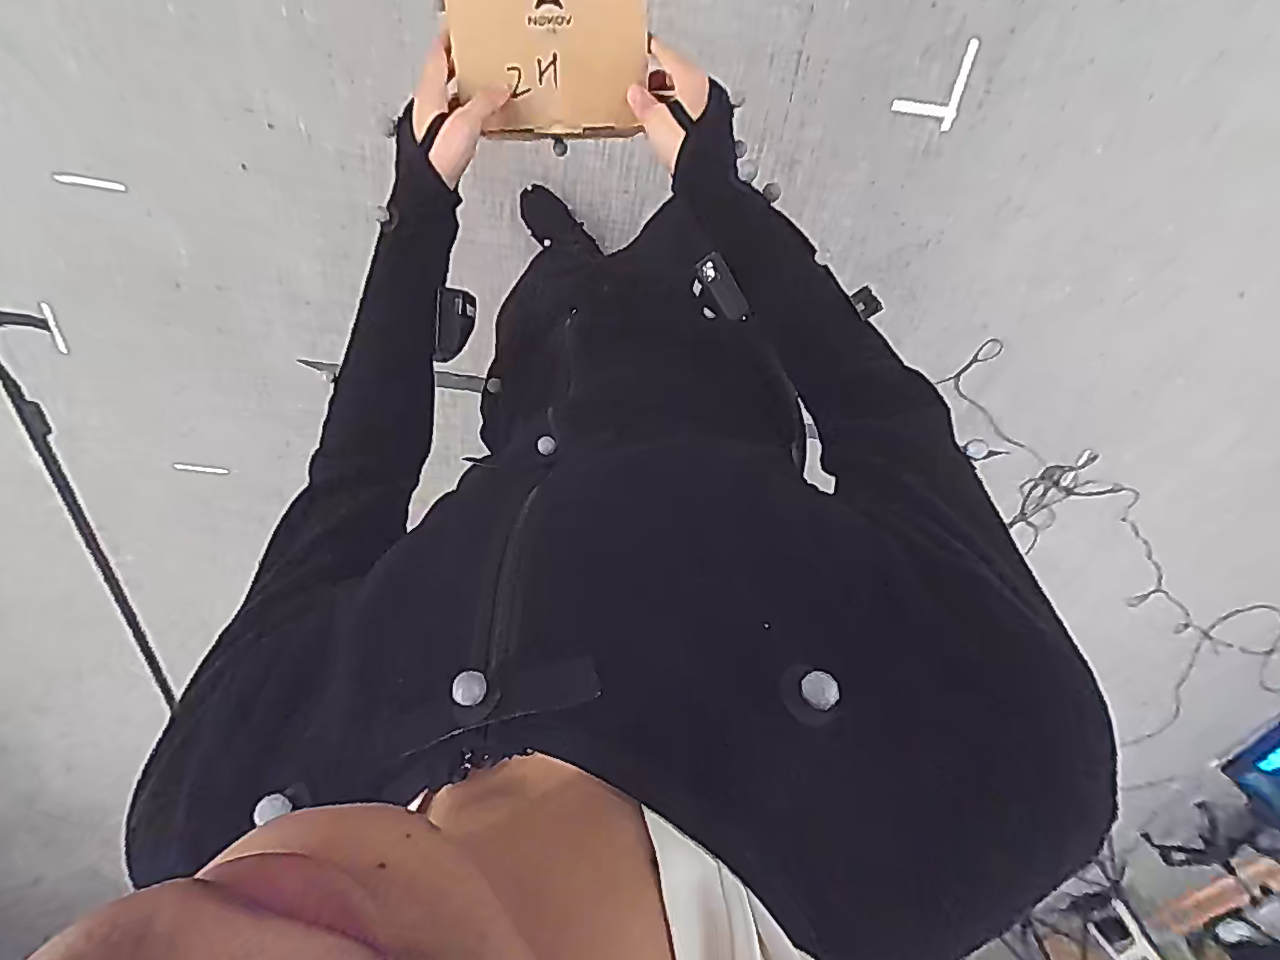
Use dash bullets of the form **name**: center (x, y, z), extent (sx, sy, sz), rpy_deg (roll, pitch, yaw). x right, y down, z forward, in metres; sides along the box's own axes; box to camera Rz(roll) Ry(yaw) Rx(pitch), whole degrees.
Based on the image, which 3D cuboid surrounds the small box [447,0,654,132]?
- **small box**: center (-0.080, -0.425, 0.493), extent (0.168, 0.176, 0.179), rpy_deg (-4, 122, -5)
